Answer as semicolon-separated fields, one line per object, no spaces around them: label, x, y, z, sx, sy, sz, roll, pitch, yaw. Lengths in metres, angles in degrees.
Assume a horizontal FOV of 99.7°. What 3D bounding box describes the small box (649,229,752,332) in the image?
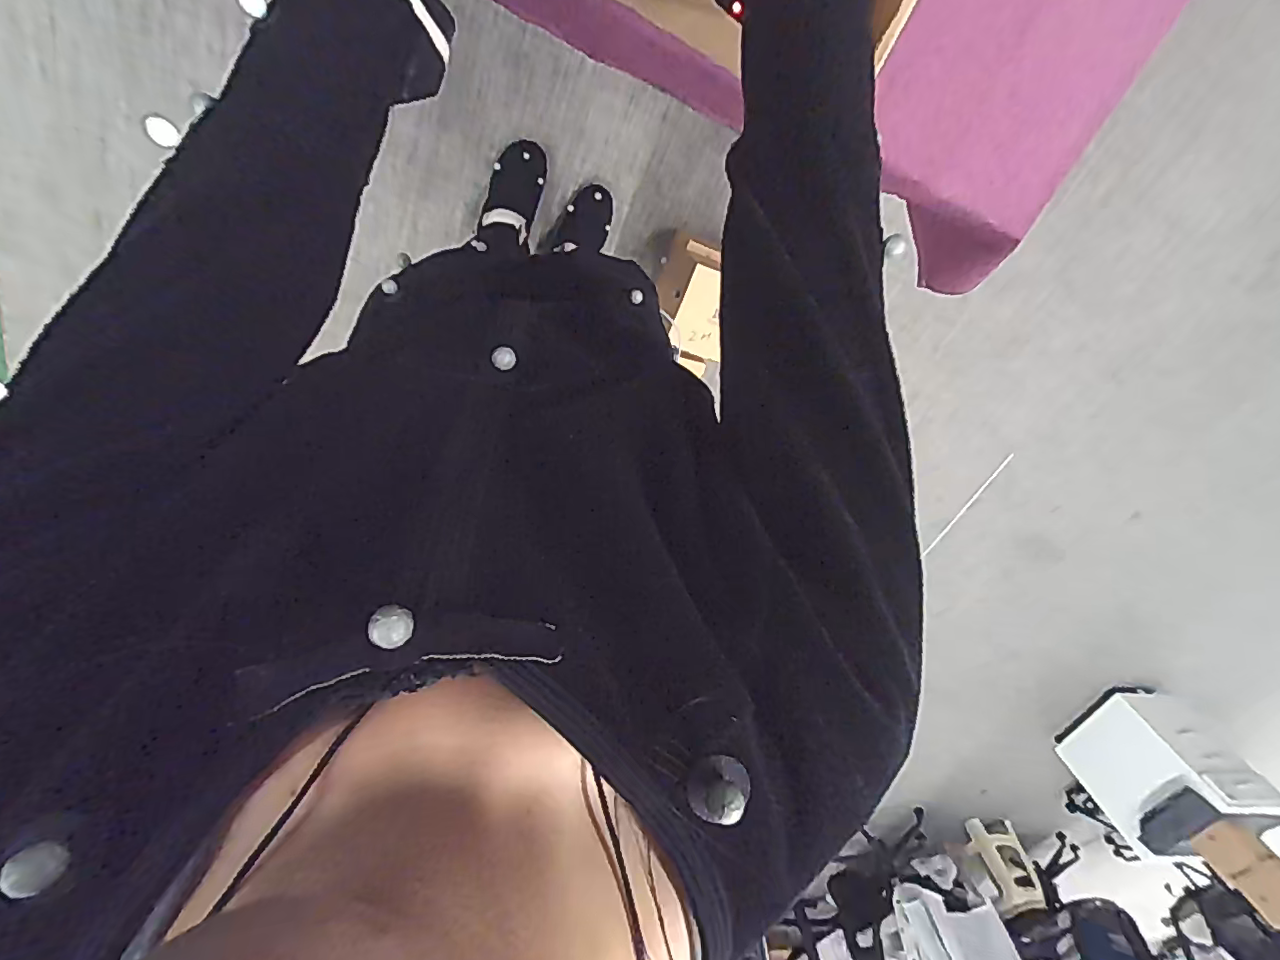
small box;0.139;-0.489;1.311;0.179;0.176;0.168;16;120;-17
